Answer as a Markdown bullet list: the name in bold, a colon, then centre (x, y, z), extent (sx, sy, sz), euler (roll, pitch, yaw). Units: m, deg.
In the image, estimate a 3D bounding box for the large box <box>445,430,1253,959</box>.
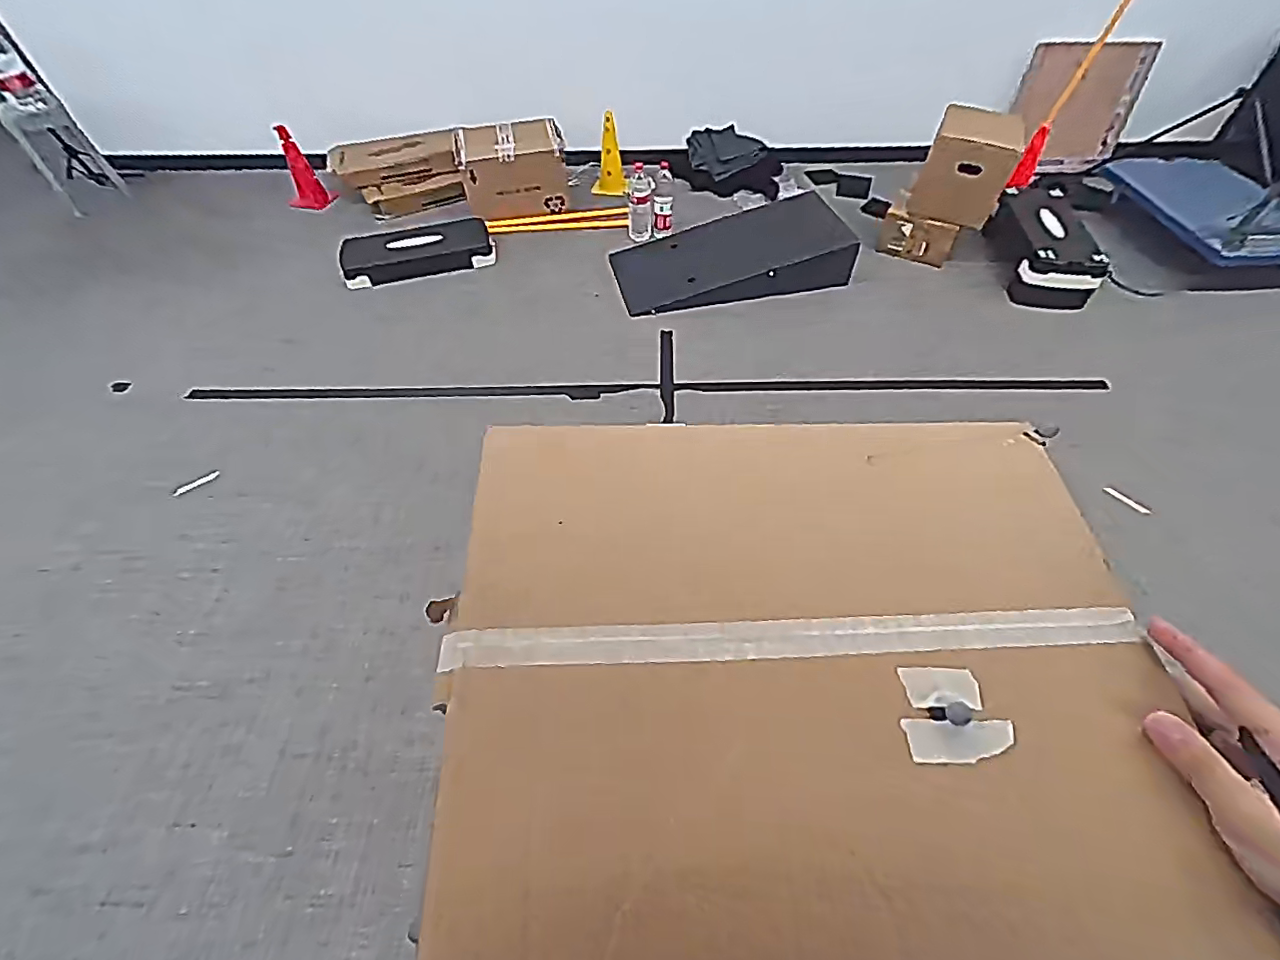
- **large box**: centre (0.089, 0.174, 0.454), extent (0.408, 0.320, 0.320), euler (-1, 59, -4)
